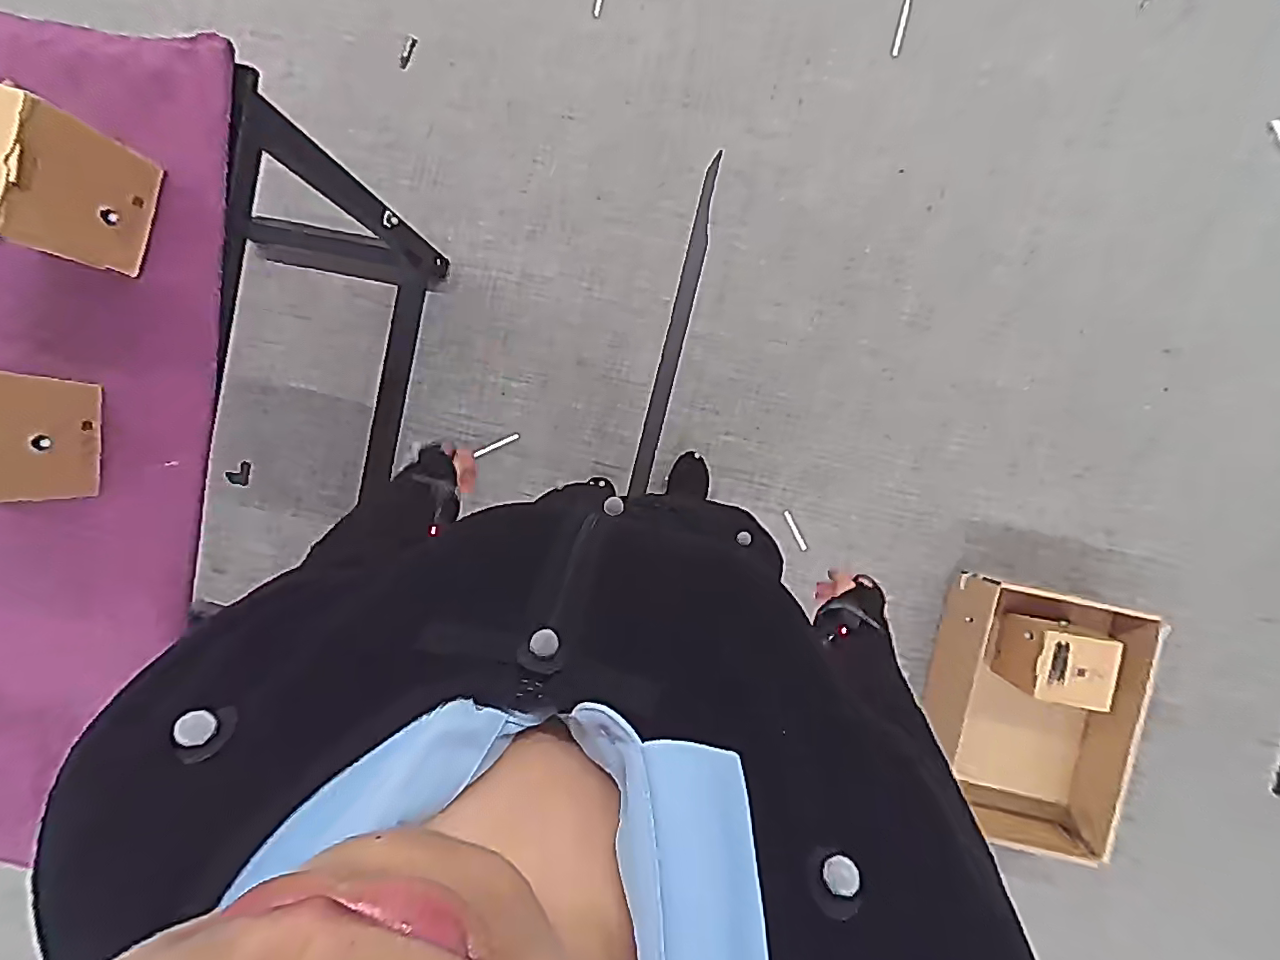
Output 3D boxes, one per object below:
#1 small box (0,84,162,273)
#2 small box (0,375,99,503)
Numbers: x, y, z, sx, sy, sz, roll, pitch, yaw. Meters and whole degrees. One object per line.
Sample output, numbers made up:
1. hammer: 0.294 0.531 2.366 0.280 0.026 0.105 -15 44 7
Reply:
1. small box: -0.797 -0.393 0.707 0.179 0.176 0.168 17 93 4
2. small box: -0.886 -0.059 0.722 0.179 0.176 0.168 4 91 3
